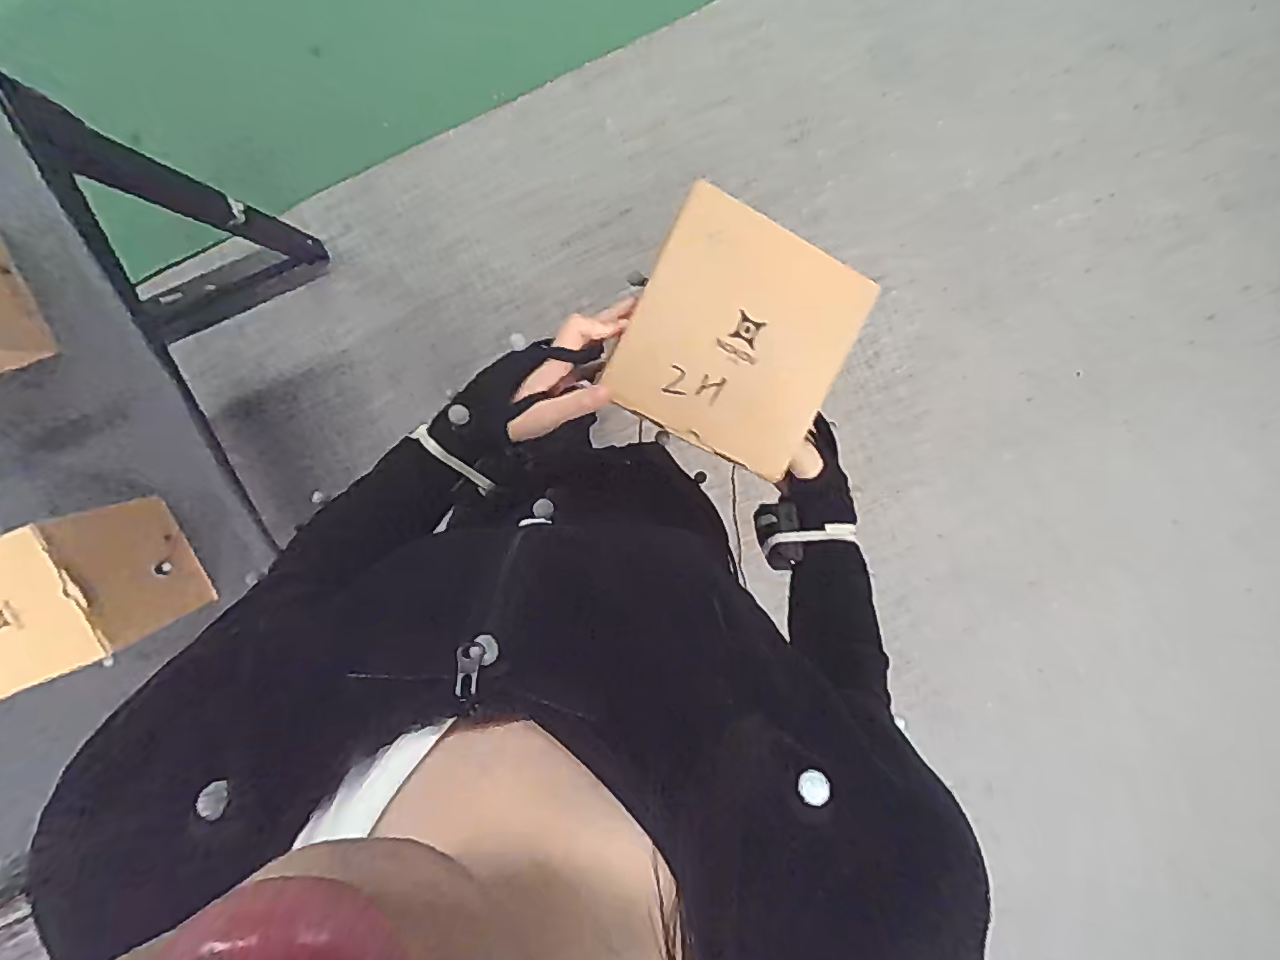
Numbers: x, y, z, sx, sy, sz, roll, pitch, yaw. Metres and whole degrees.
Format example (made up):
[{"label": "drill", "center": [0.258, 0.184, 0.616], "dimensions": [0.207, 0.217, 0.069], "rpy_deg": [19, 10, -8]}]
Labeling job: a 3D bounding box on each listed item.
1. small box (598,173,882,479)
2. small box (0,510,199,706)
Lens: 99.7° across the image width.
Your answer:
[{"label": "small box", "center": [0.068, -0.123, 0.486], "dimensions": [0.168, 0.176, 0.179], "rpy_deg": [25, 95, -10]}, {"label": "small box", "center": [-0.703, 0.152, 0.651], "dimensions": [0.179, 0.176, 0.168], "rpy_deg": [-23, 99, 0]}]
